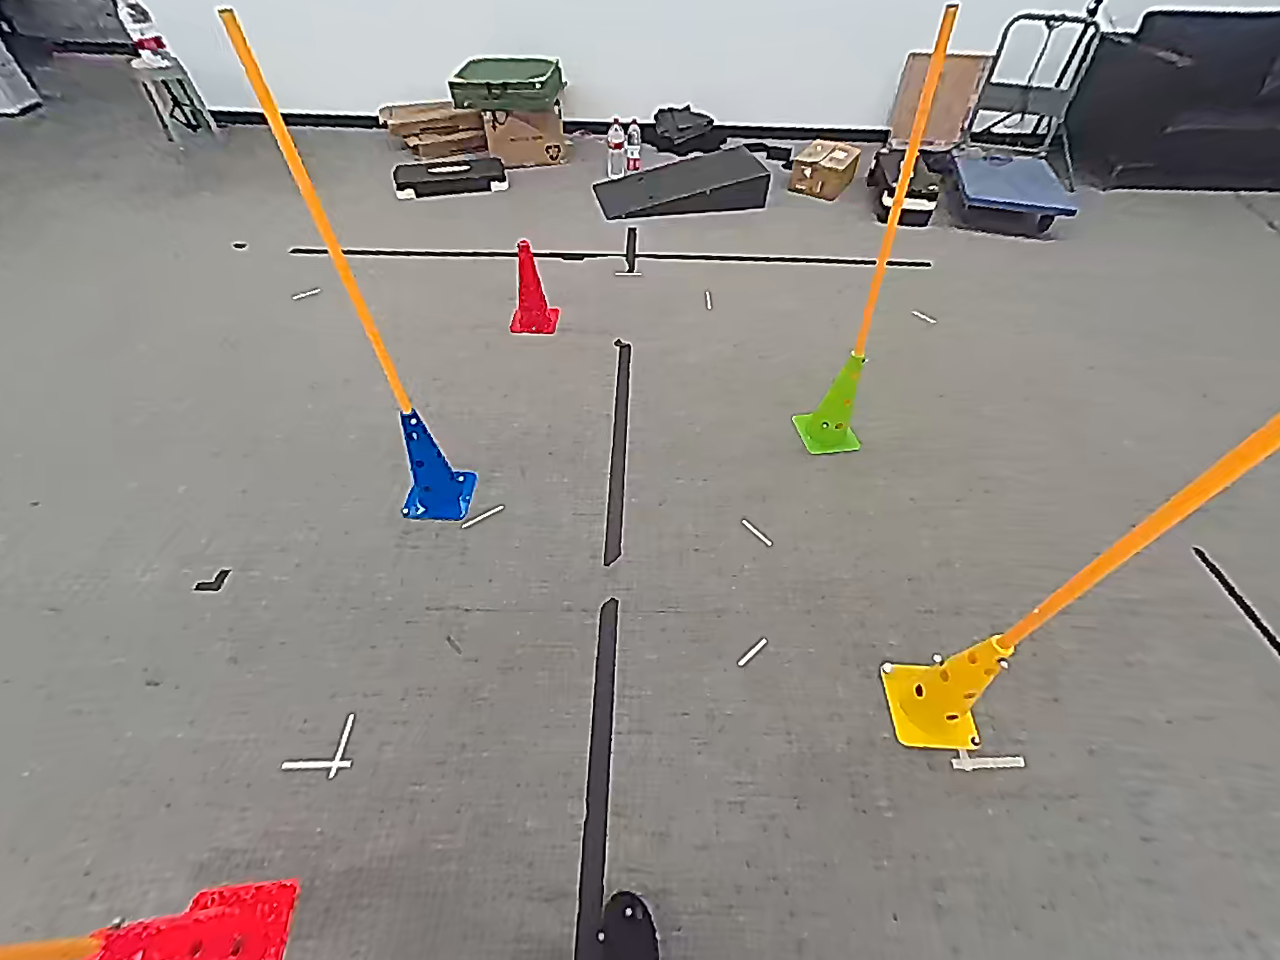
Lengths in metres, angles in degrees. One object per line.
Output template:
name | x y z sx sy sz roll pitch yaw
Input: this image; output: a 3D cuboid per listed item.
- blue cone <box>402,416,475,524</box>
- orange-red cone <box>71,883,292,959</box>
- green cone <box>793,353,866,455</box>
blue cone | -0.638 -0.049 1.623 0.193 0.380 0.192 3 49 1
orange-red cone | -0.767 0.764 0.876 0.199 0.360 0.198 -1 49 -5
green cone | 0.687 -0.281 1.855 0.200 0.368 0.202 -7 51 -7
